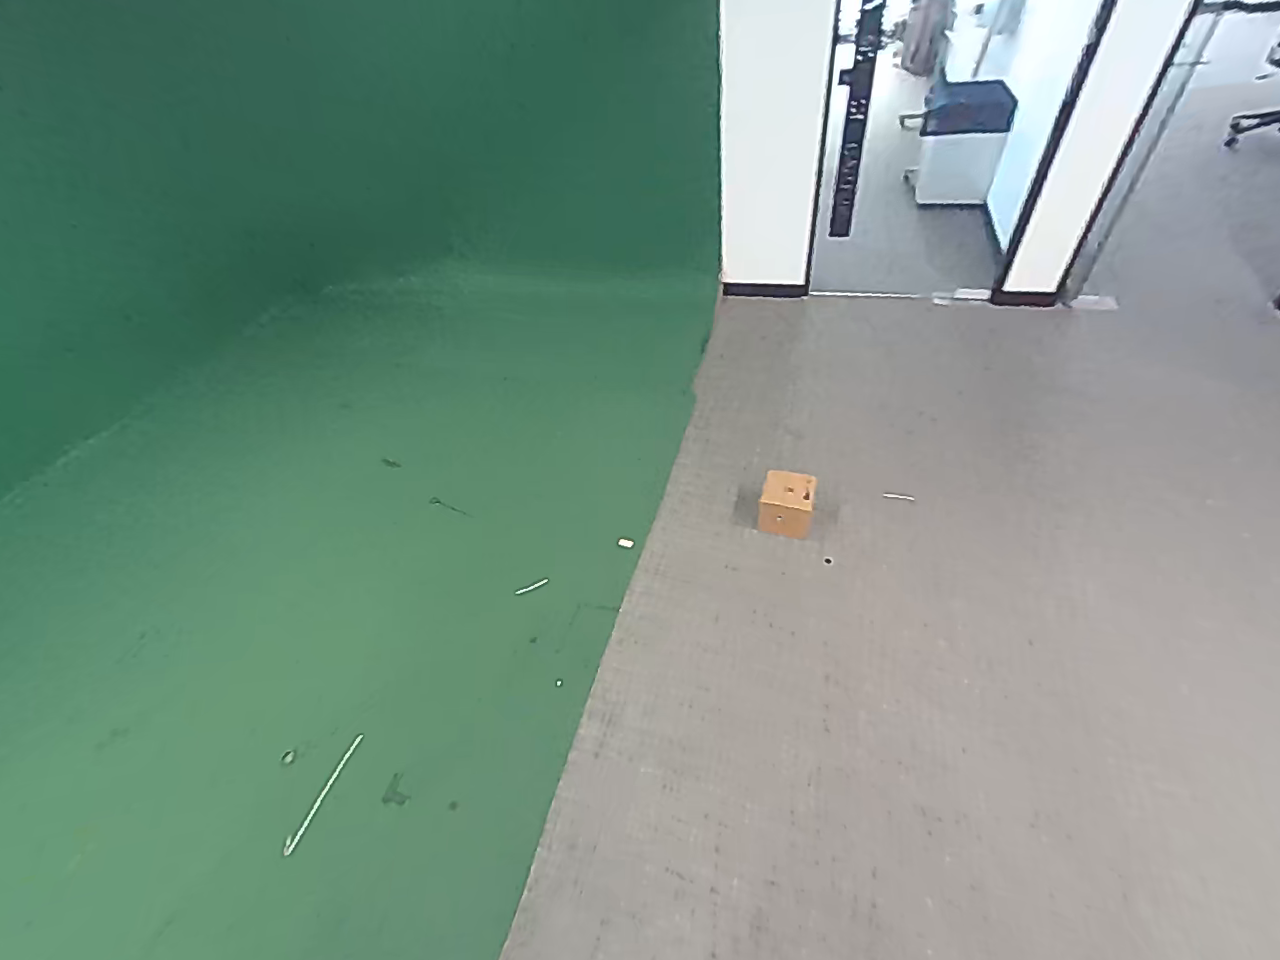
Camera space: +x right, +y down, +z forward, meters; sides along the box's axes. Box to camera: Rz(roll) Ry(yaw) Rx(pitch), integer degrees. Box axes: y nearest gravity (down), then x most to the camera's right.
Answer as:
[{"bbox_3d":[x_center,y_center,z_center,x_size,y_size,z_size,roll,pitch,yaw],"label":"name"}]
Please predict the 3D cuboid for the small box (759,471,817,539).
[{"bbox_3d":[0.529,0.092,1.944,0.179,0.176,0.168,10,49,19],"label":"small box"}]
